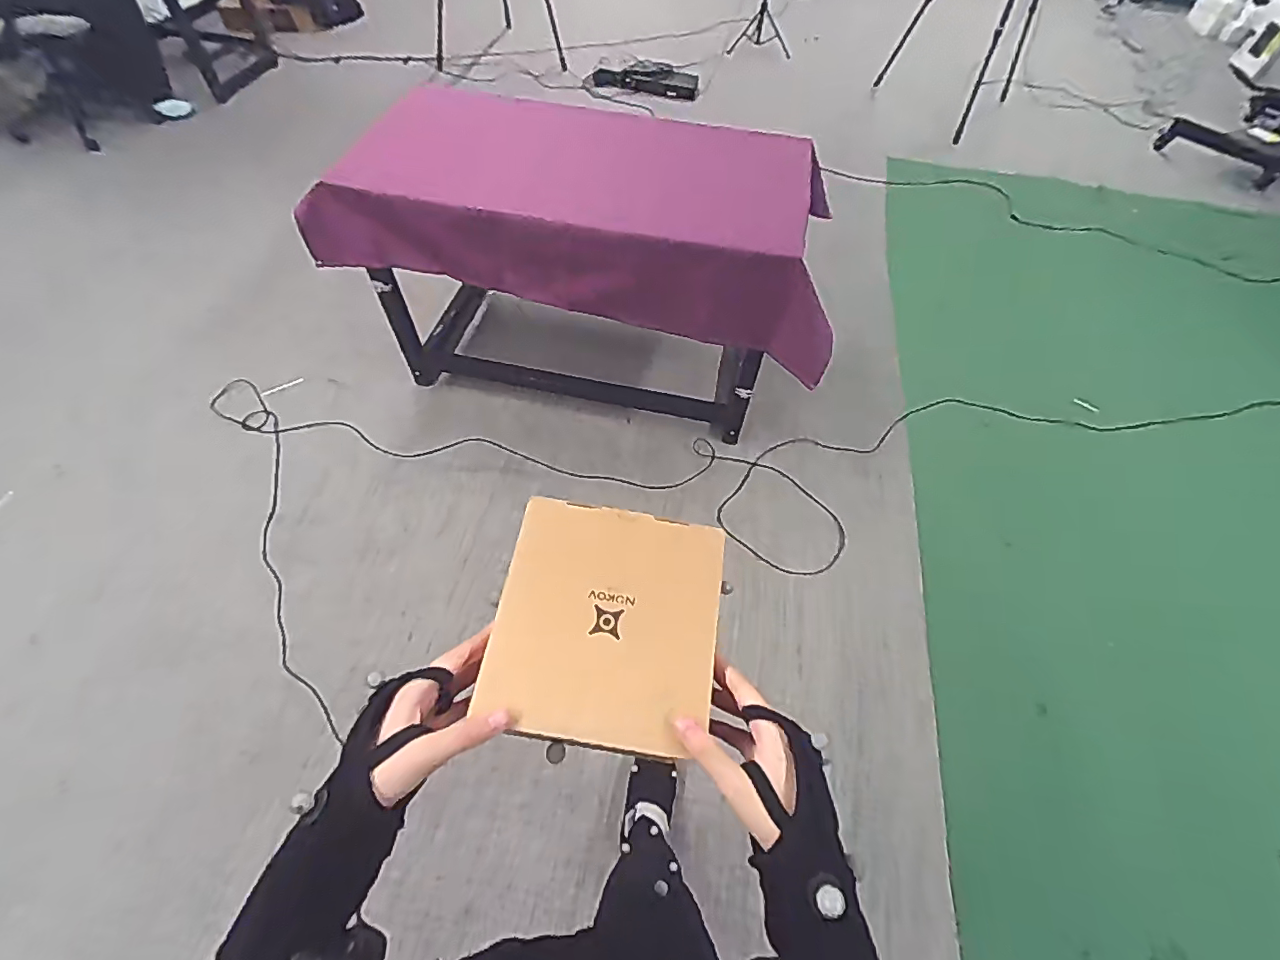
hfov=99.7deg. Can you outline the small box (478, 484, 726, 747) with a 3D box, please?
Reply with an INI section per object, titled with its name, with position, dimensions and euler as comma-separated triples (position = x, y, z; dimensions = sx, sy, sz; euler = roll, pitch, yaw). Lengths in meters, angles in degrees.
[small box]
position = -0.026, 0.130, 0.481
dimensions = 0.168, 0.176, 0.179
euler = 10, 60, 0
